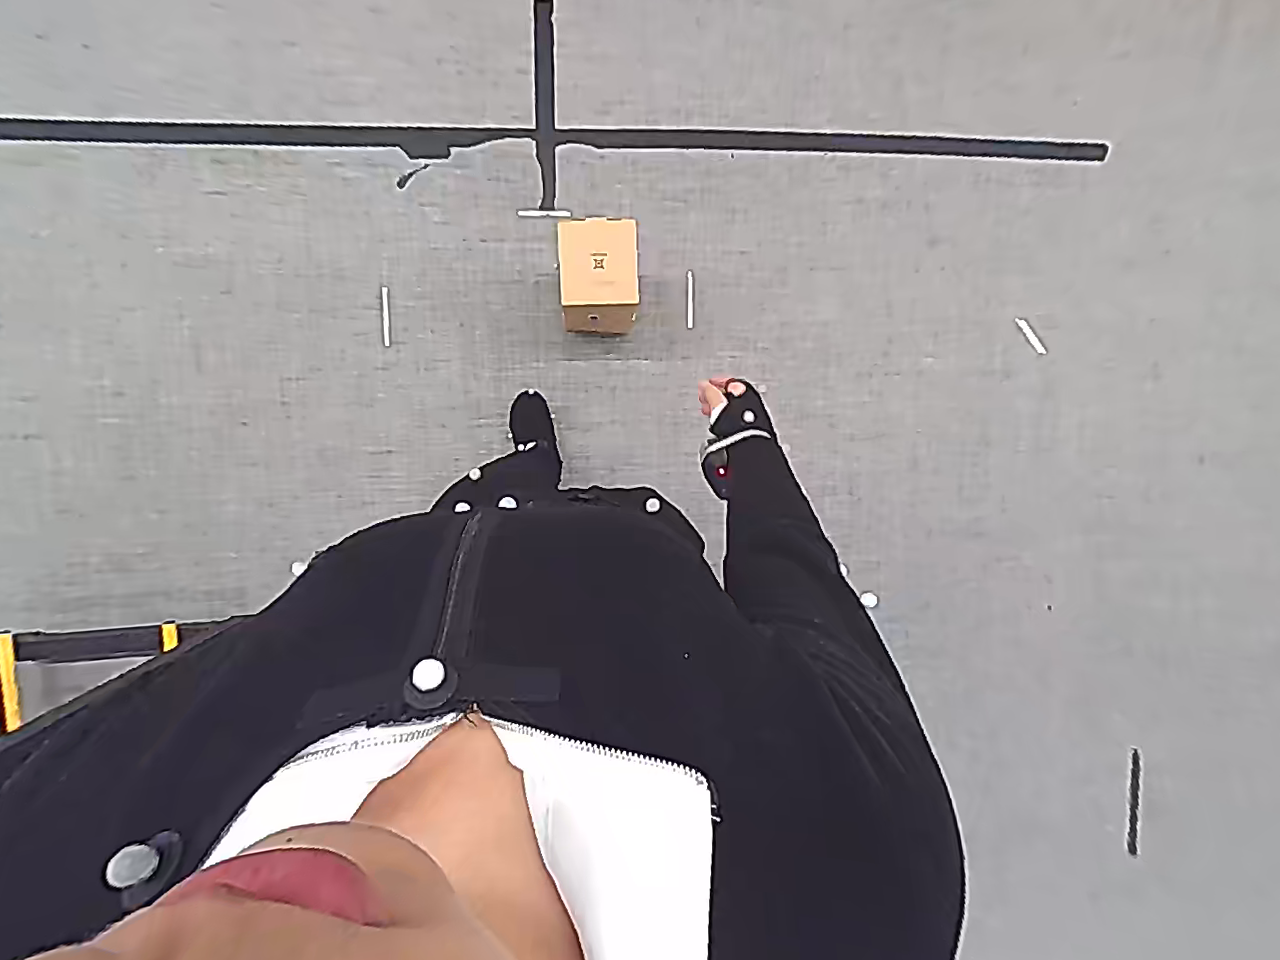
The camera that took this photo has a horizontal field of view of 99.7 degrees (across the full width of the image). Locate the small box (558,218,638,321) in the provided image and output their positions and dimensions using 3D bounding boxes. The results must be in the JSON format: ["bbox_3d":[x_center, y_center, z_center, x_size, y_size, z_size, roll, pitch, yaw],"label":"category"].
[{"bbox_3d":[-0.095,-0.463,1.208,0.168,0.176,0.179,-3,97,-4],"label":"small box"}]

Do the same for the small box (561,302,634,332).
[{"bbox_3d":[-0.107,-0.476,1.369,0.179,0.176,0.168,1,95,-7],"label":"small box"}]
